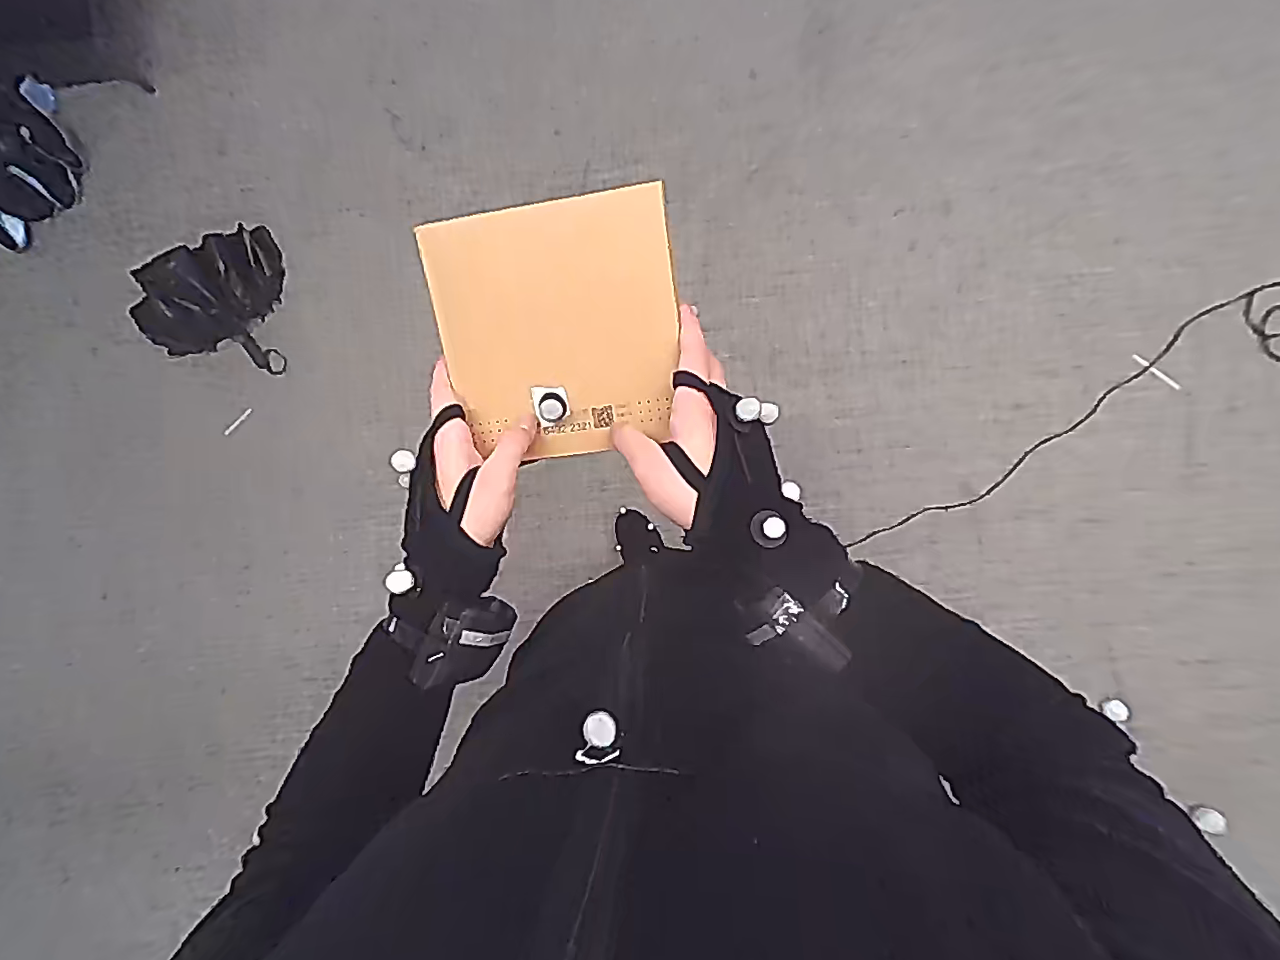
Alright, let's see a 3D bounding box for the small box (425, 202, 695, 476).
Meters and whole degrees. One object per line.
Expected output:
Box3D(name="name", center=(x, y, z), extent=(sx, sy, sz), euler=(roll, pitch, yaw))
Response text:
Box3D(name="small box", center=(-0.048, -0.108, 0.453), extent=(0.168, 0.179, 0.176), euler=(-9, 104, 7))
